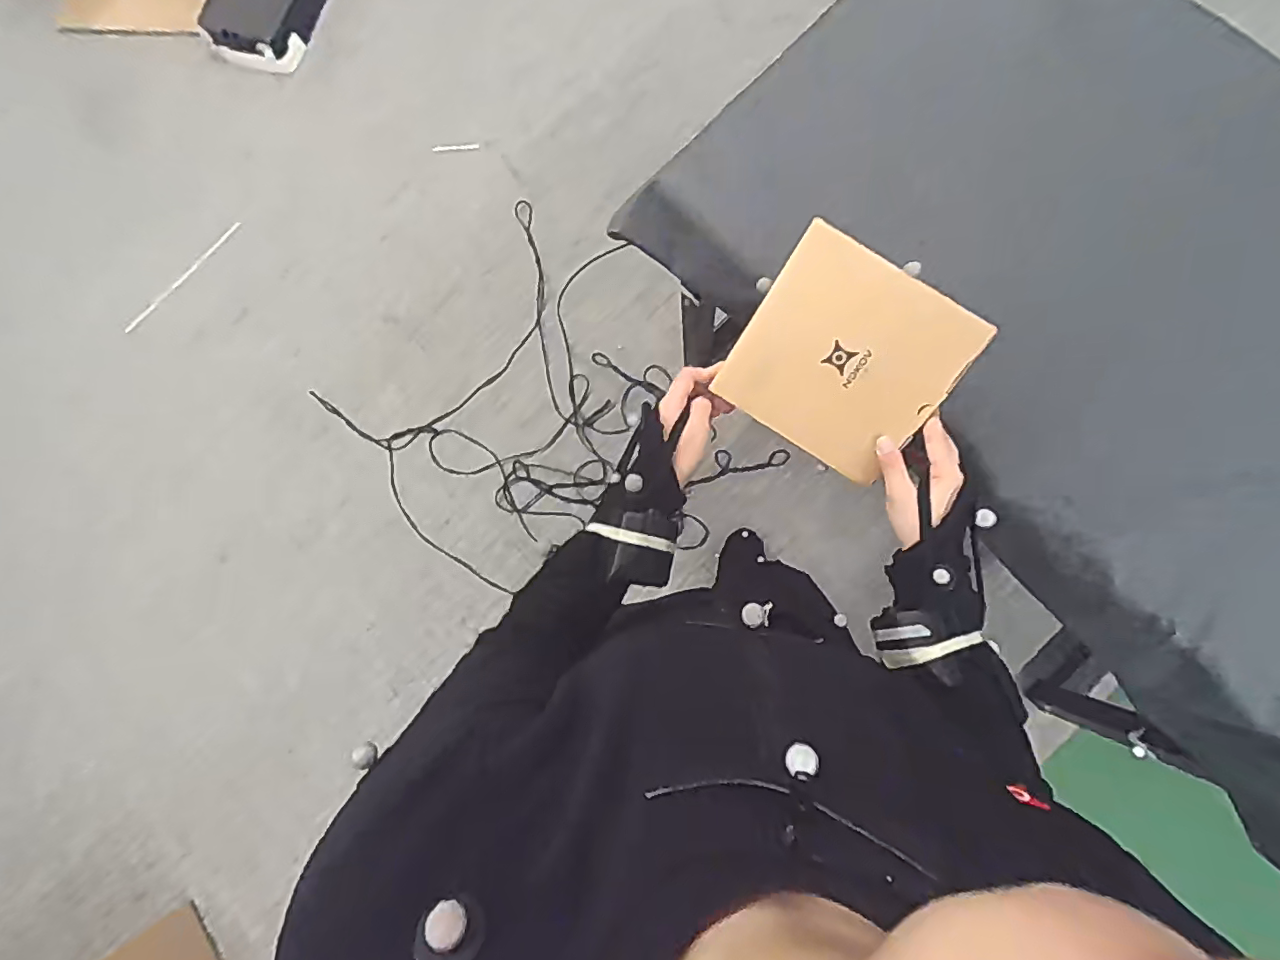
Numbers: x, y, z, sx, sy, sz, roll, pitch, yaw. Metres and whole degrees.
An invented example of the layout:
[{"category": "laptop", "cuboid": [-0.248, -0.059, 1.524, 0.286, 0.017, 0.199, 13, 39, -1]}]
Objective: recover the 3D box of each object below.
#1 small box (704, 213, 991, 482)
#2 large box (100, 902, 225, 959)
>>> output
[{"category": "small box", "cuboid": [0.185, -0.127, 0.534, 0.179, 0.176, 0.168, 32, 110, 2]}, {"category": "large box", "cuboid": [-1.139, 1.282, 1.184, 0.320, 0.320, 0.408, -38, 79, -1]}]
